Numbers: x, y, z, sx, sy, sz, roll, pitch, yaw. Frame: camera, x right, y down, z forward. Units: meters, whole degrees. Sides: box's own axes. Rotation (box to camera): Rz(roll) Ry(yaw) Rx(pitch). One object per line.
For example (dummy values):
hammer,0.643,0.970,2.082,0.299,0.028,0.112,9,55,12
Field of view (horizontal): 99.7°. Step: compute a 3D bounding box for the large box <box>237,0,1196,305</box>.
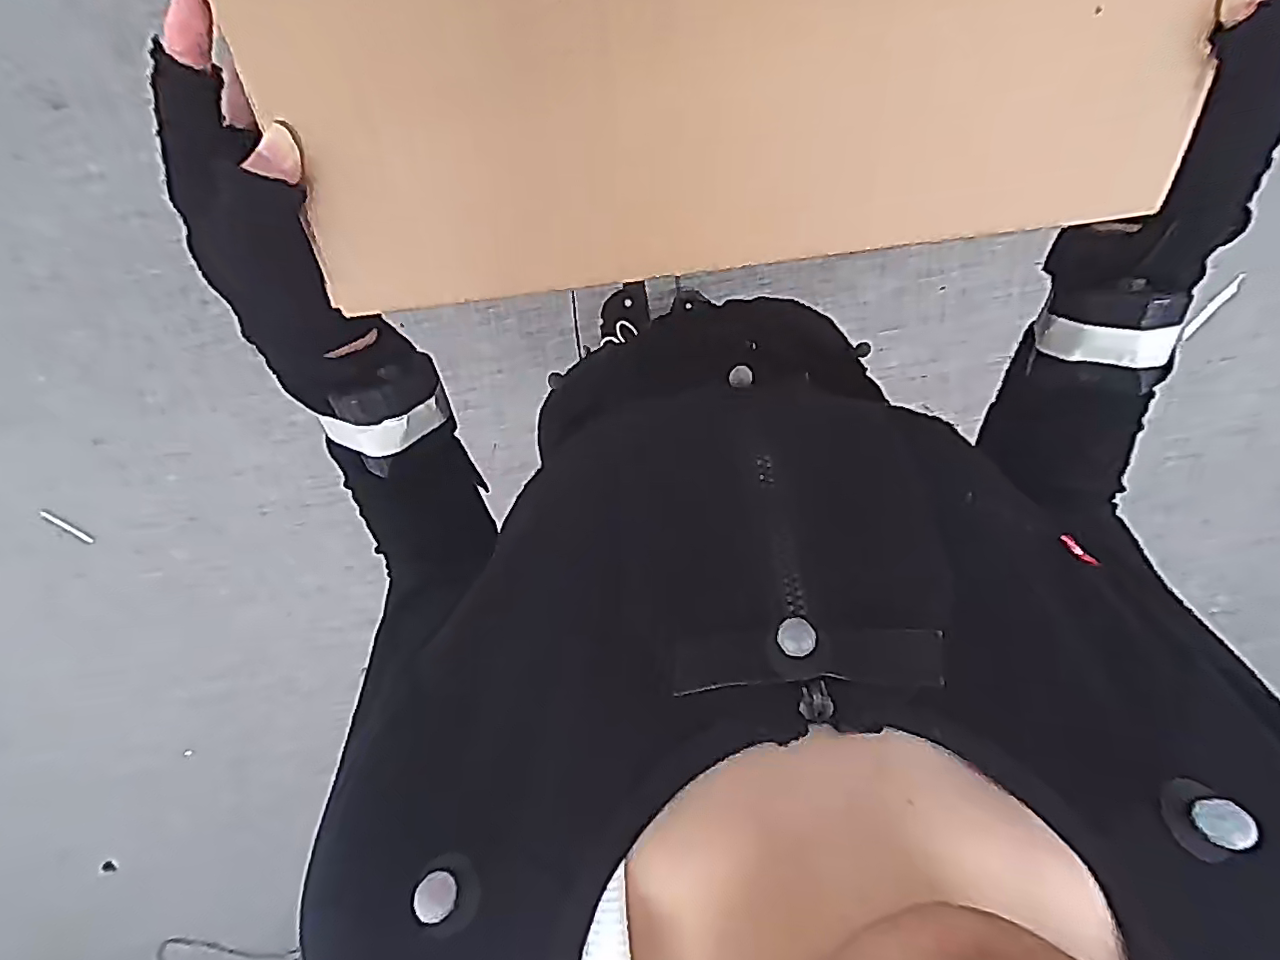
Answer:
large box,0.023,-0.323,0.323,0.408,0.320,0.320,-7,123,2
